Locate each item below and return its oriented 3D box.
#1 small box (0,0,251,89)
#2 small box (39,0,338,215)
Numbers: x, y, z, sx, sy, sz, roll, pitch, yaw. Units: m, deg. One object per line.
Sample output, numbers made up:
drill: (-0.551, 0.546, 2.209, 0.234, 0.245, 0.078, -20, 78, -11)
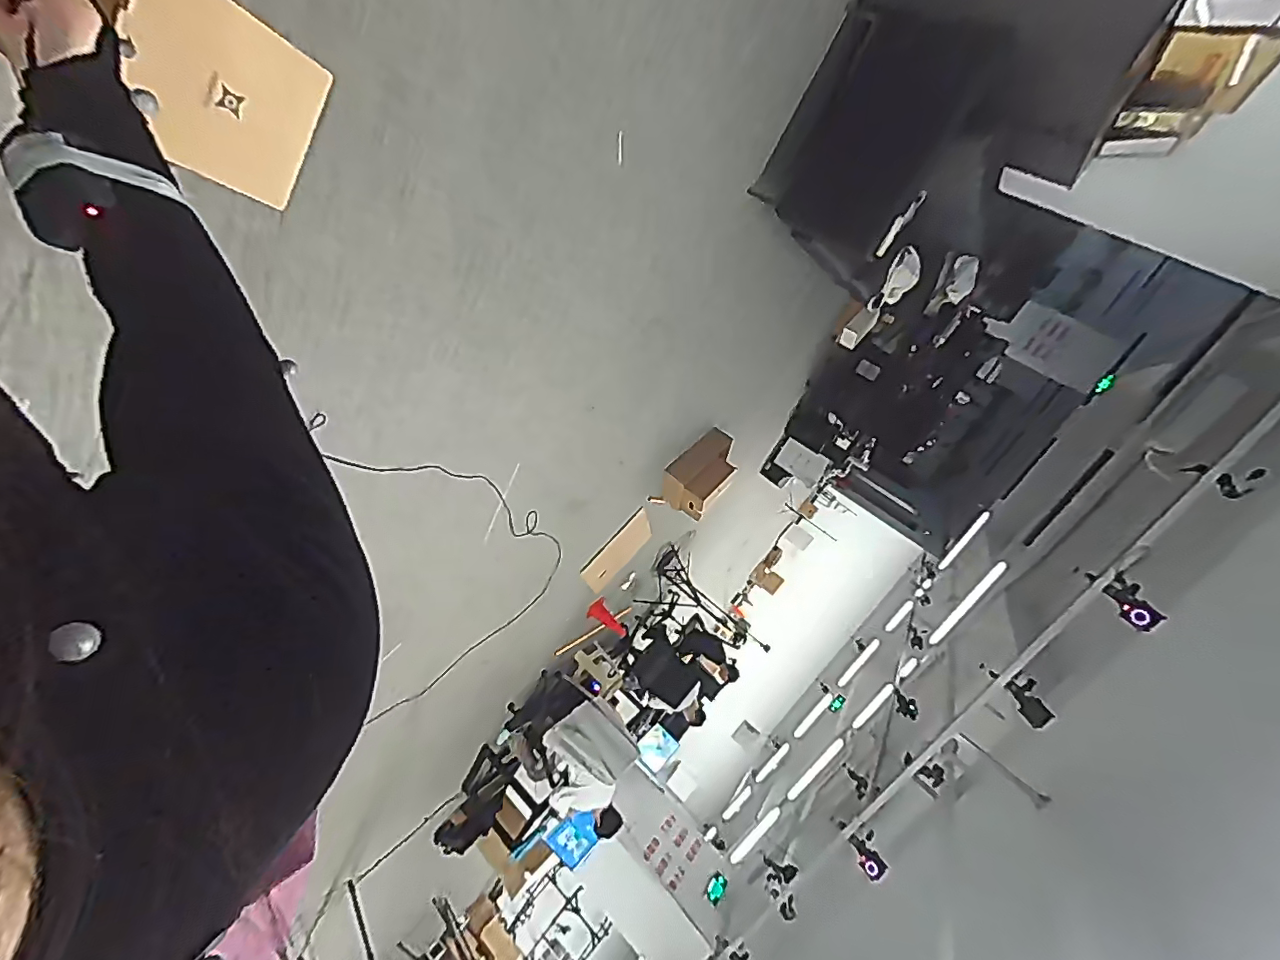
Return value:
small box: (-0.601, -0.523, 0.628, 0.179, 0.176, 0.168, -60, 158, 14)
small box: (-0.478, -0.428, 0.580, 0.168, 0.176, 0.179, -59, 158, 14)
